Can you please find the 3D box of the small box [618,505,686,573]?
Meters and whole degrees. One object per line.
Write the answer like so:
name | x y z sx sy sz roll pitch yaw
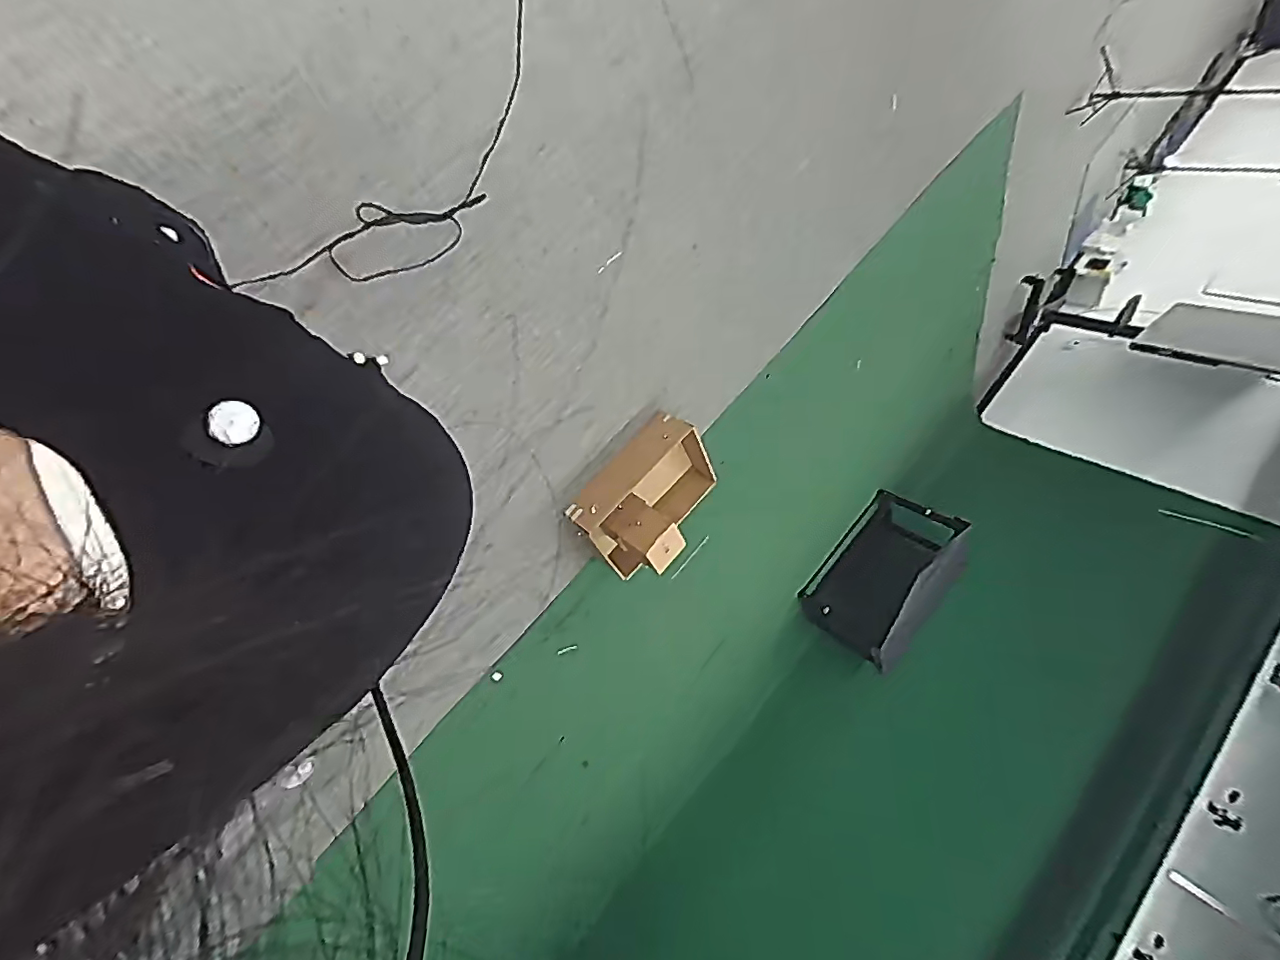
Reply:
small box | 0.046 0.224 2.101 0.168 0.176 0.179 -47 140 -14
